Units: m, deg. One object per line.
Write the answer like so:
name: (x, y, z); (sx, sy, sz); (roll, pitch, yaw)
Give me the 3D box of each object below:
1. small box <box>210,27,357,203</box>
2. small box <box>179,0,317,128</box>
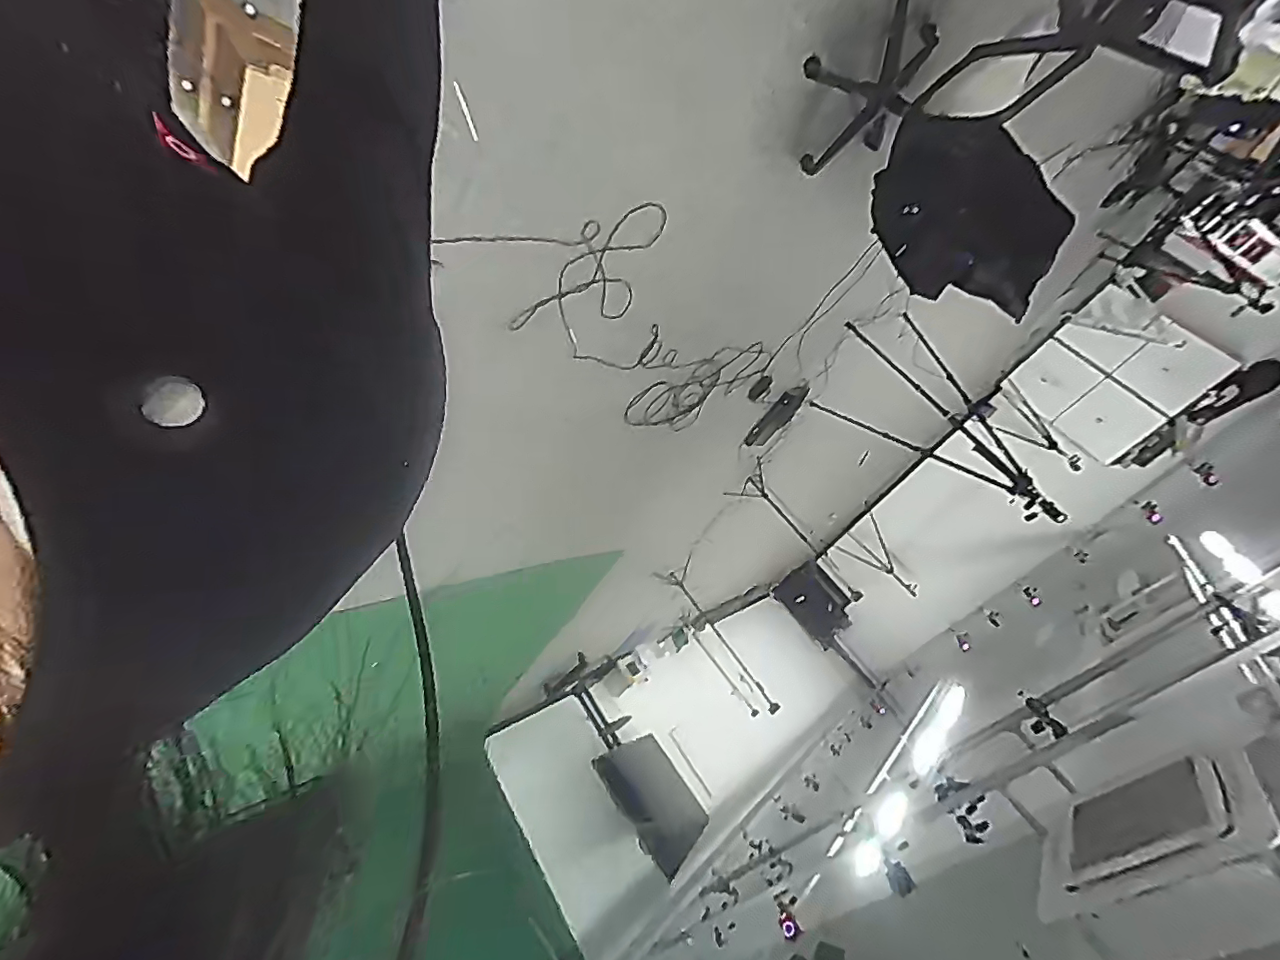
small box: (-0.628, -0.633, 0.945); (0.168, 0.176, 0.179); (-6, 142, -49)
small box: (-0.727, -0.753, 0.998); (0.168, 0.176, 0.179); (-8, 142, -48)
